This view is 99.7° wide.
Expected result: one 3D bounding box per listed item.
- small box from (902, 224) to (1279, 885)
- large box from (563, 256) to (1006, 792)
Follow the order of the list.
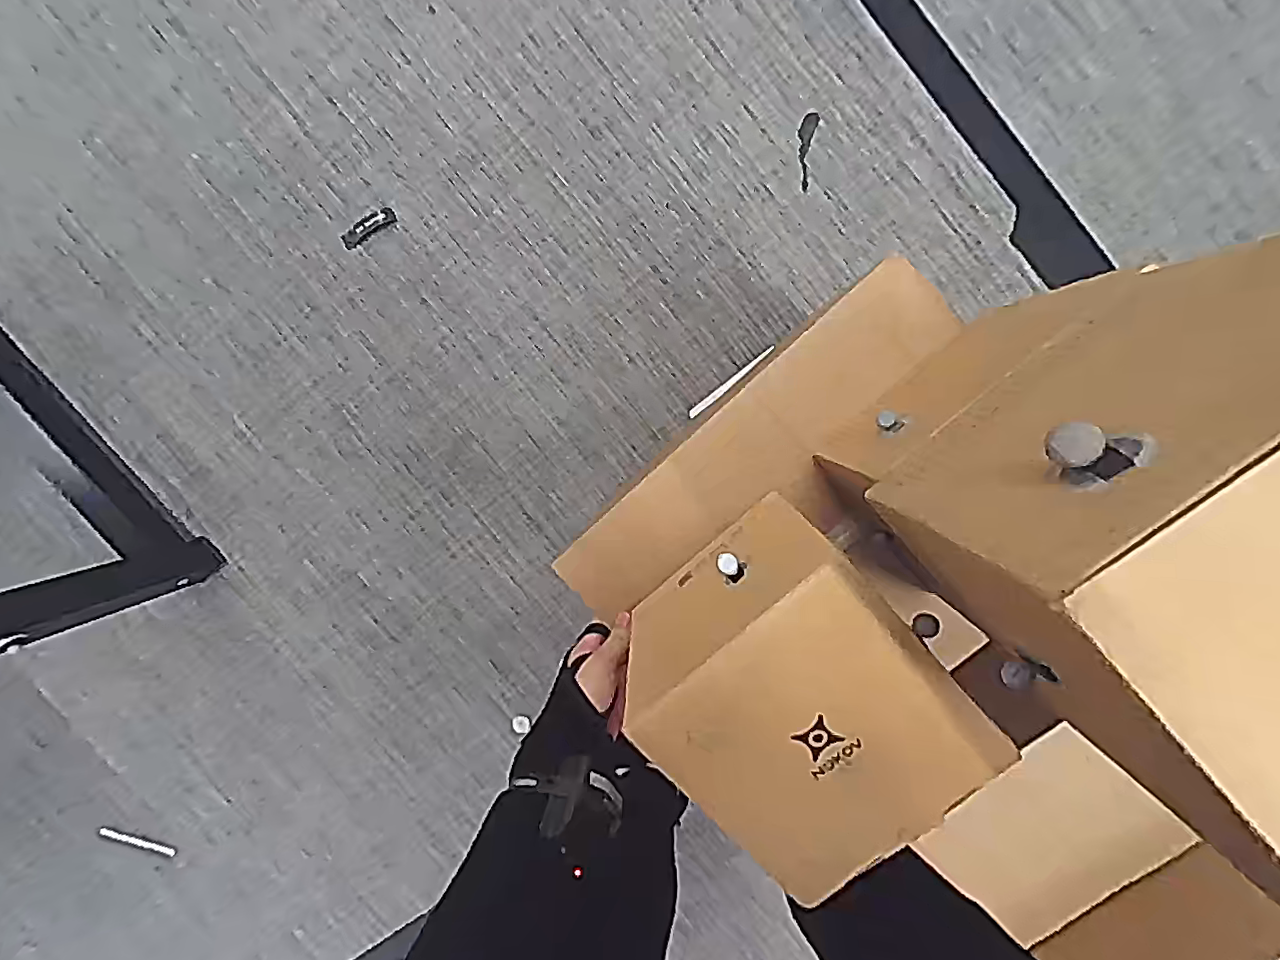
[{"bbox_3d":[0.232,0.019,0.206,0.179,0.176,0.168,-41,92,9],"label":"small box"},{"bbox_3d":[0.183,0.035,0.625,0.408,0.320,0.320,-43,91,9],"label":"large box"}]
